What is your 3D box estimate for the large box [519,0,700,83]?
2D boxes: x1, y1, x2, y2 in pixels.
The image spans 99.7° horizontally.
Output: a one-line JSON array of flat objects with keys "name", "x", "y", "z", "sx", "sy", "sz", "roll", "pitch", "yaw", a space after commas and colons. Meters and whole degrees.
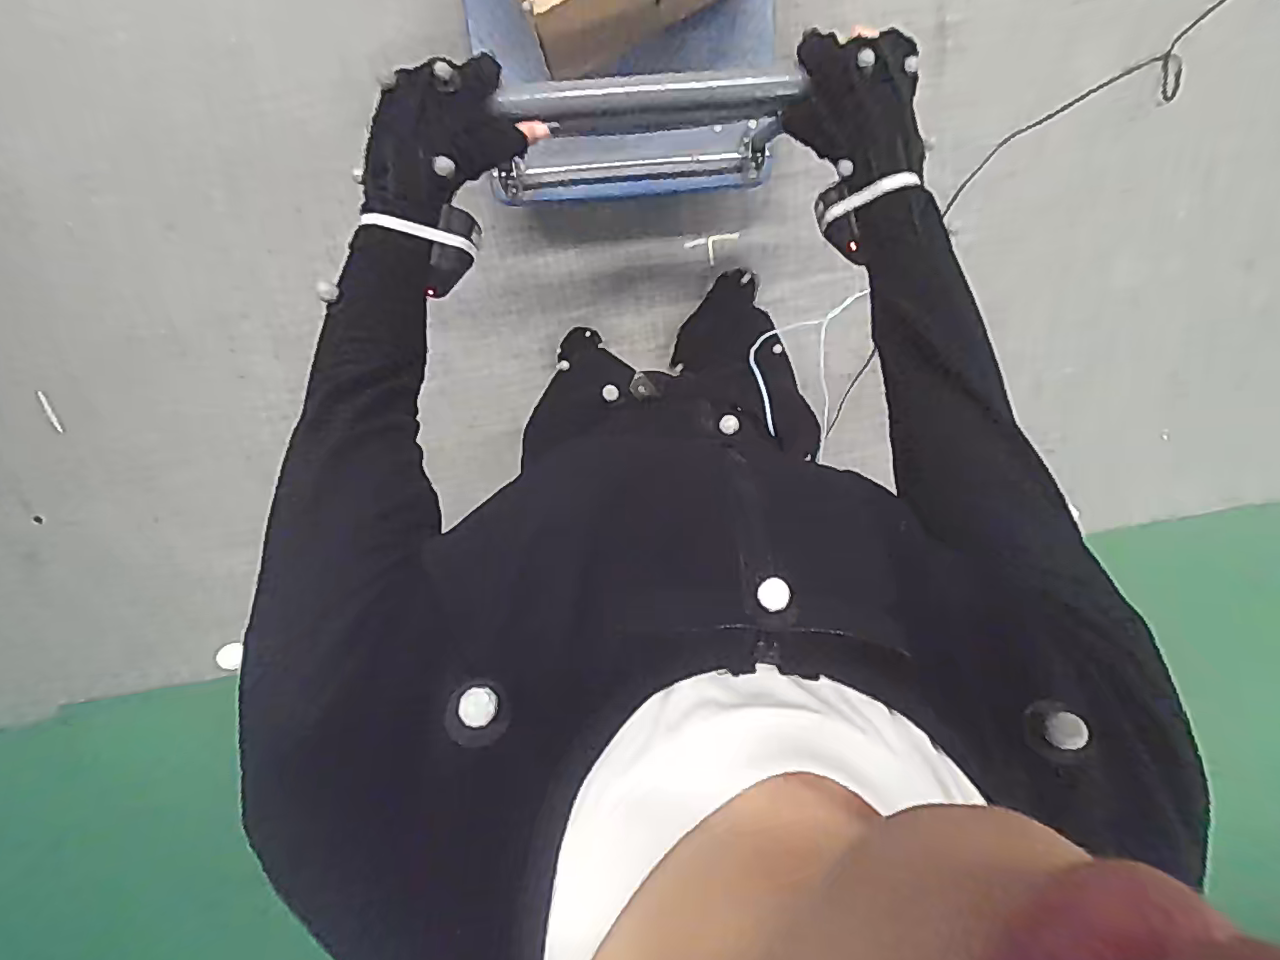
[{"name": "large box", "x": -0.043, "y": -0.922, "z": 0.835, "sx": 0.408, "sy": 0.320, "sz": 0.320, "roll": -25, "pitch": 109, "yaw": 8}]
